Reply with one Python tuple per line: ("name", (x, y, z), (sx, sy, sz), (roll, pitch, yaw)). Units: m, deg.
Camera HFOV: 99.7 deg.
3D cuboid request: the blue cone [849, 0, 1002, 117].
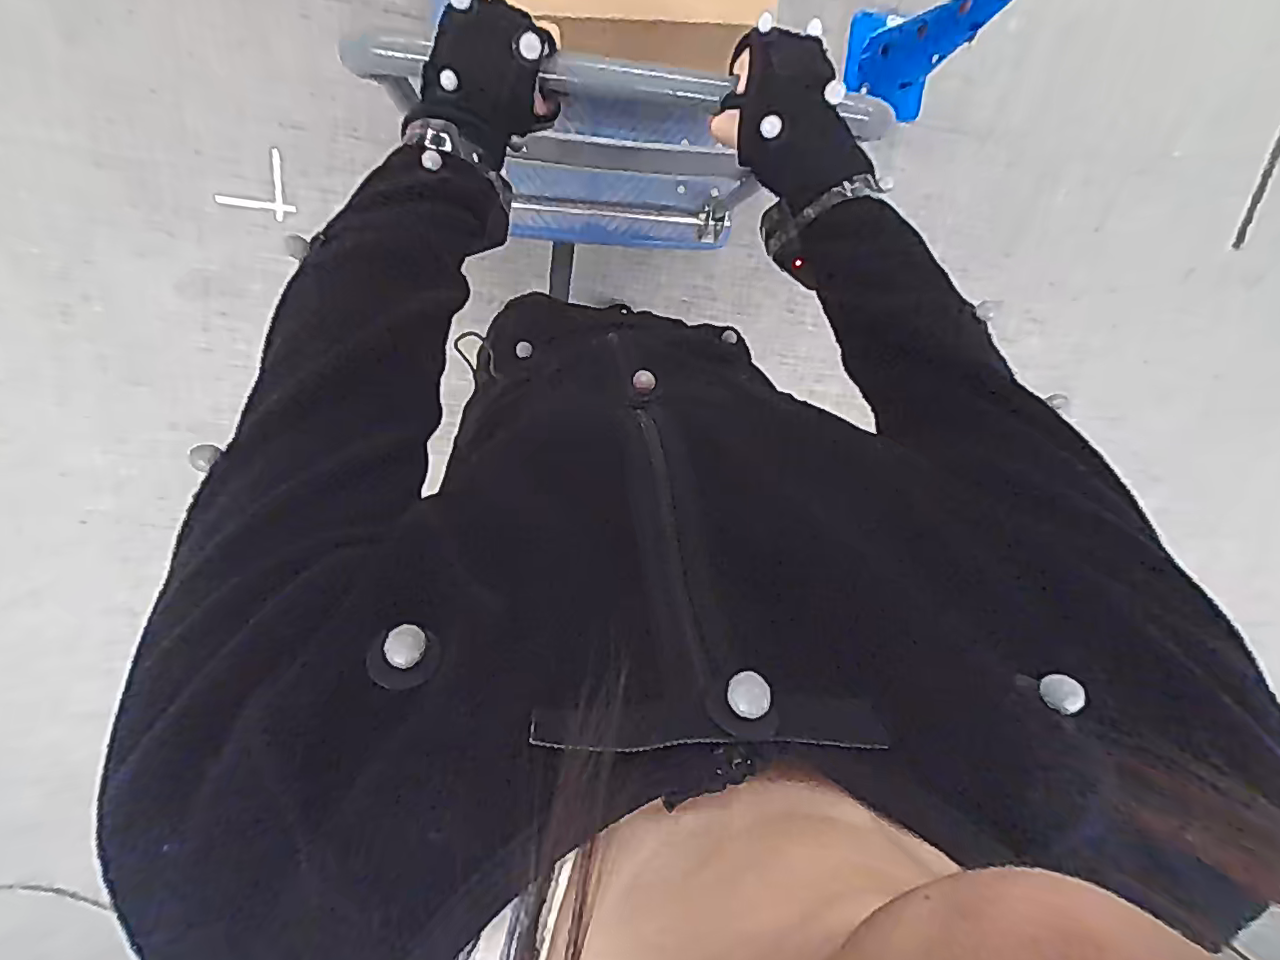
("blue cone", (0.595, -0.890, 1.076), (0.193, 0.380, 0.192), (1, 108, -10))
